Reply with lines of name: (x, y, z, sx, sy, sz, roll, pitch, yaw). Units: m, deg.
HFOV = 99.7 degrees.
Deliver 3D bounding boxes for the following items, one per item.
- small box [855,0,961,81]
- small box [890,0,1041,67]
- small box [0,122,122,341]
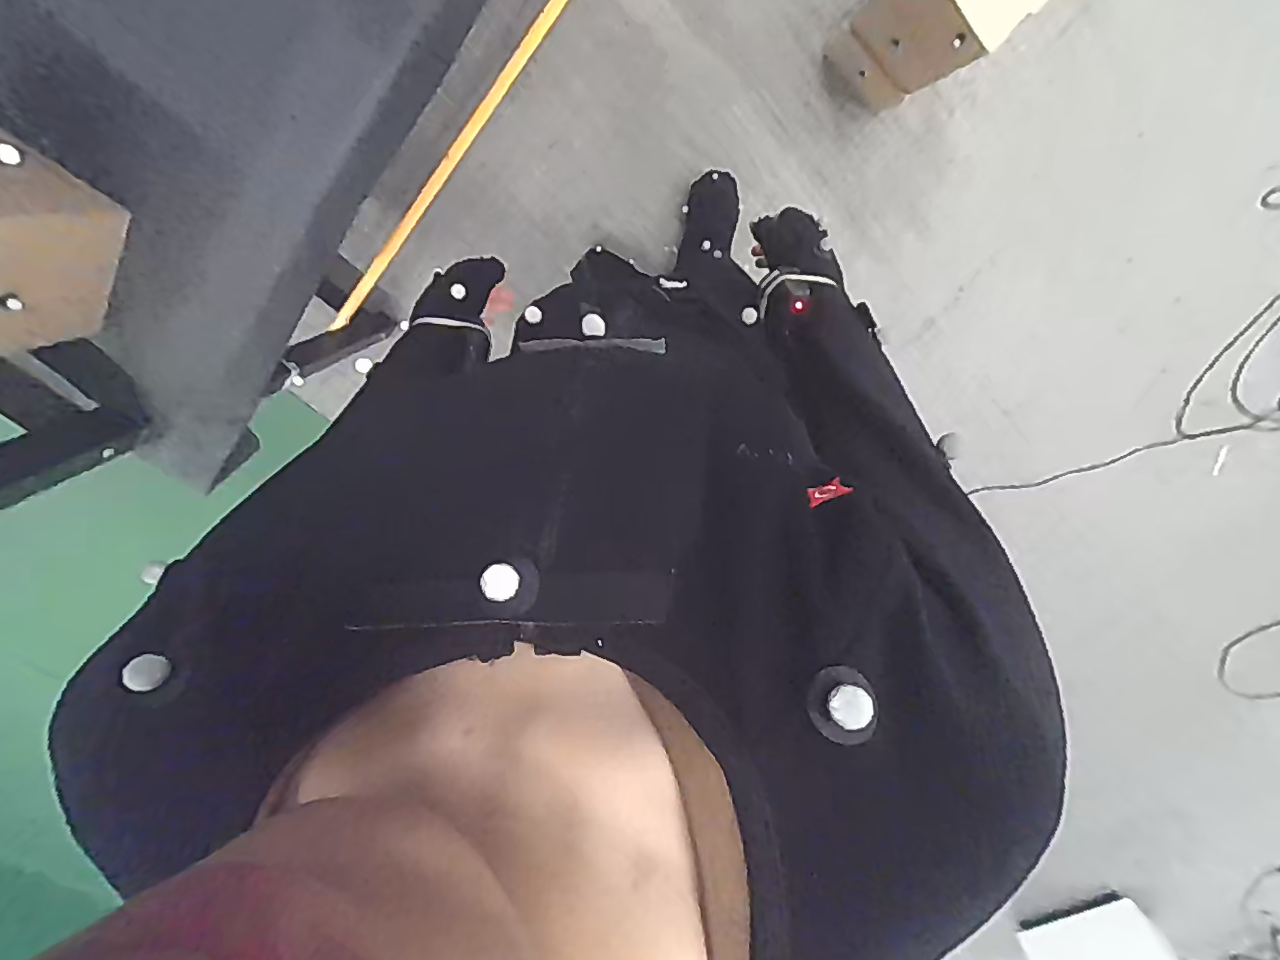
small box: (0.482, -0.785, 0.868, 0.179, 0.176, 0.168, 39, 113, -14)
small box: (0.459, -0.706, 0.727, 0.179, 0.176, 0.168, 41, 113, -16)
small box: (-0.711, -0.261, 0.570, 0.168, 0.176, 0.179, 35, 114, -15)
